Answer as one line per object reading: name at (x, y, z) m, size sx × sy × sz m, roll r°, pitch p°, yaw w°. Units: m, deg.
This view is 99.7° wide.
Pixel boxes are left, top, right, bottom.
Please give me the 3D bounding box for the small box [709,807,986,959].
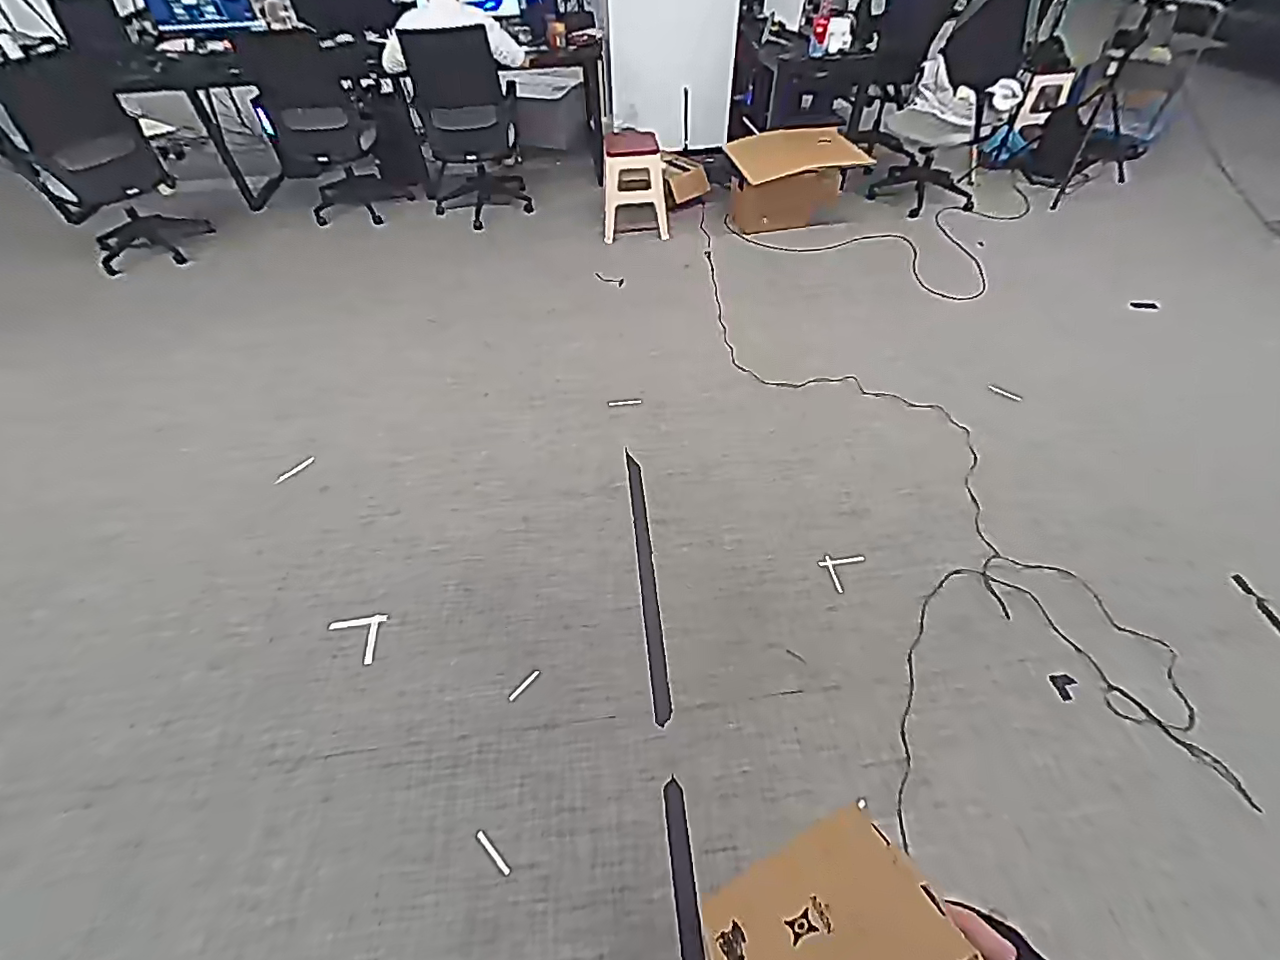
small box at (0.183, 0.424, 0.436) m, size 0.179 × 0.168 × 0.176 m, roll -28°, pitch 91°, yaw -4°
